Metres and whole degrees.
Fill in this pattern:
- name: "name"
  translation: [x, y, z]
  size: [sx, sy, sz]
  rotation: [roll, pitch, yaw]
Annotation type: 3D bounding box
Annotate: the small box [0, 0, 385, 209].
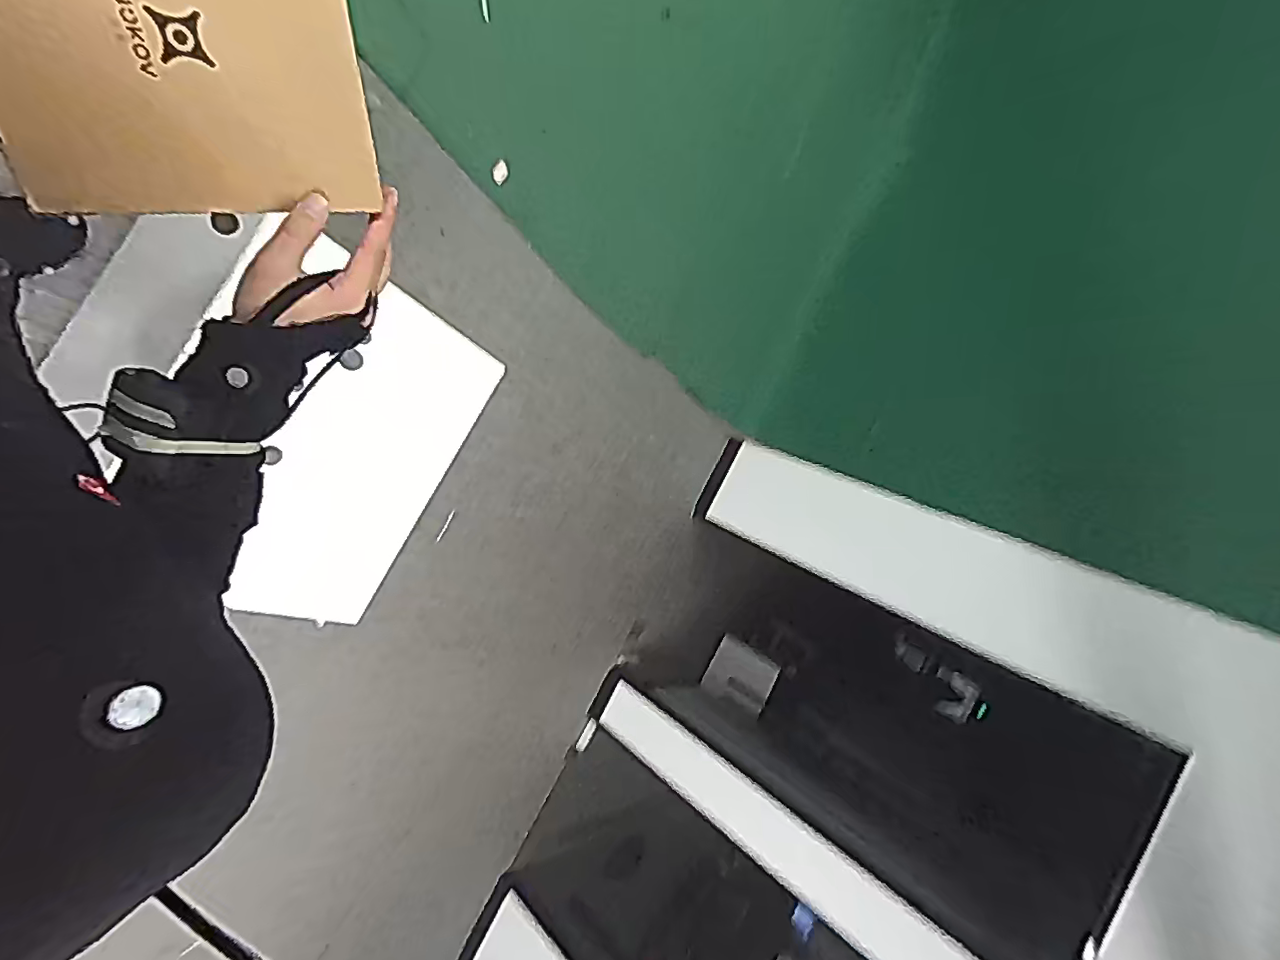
- name: "small box"
  translation: [-0.272, -0.269, 0.326]
  size: [0.179, 0.176, 0.168]
  rotation: [-14, 128, -22]
